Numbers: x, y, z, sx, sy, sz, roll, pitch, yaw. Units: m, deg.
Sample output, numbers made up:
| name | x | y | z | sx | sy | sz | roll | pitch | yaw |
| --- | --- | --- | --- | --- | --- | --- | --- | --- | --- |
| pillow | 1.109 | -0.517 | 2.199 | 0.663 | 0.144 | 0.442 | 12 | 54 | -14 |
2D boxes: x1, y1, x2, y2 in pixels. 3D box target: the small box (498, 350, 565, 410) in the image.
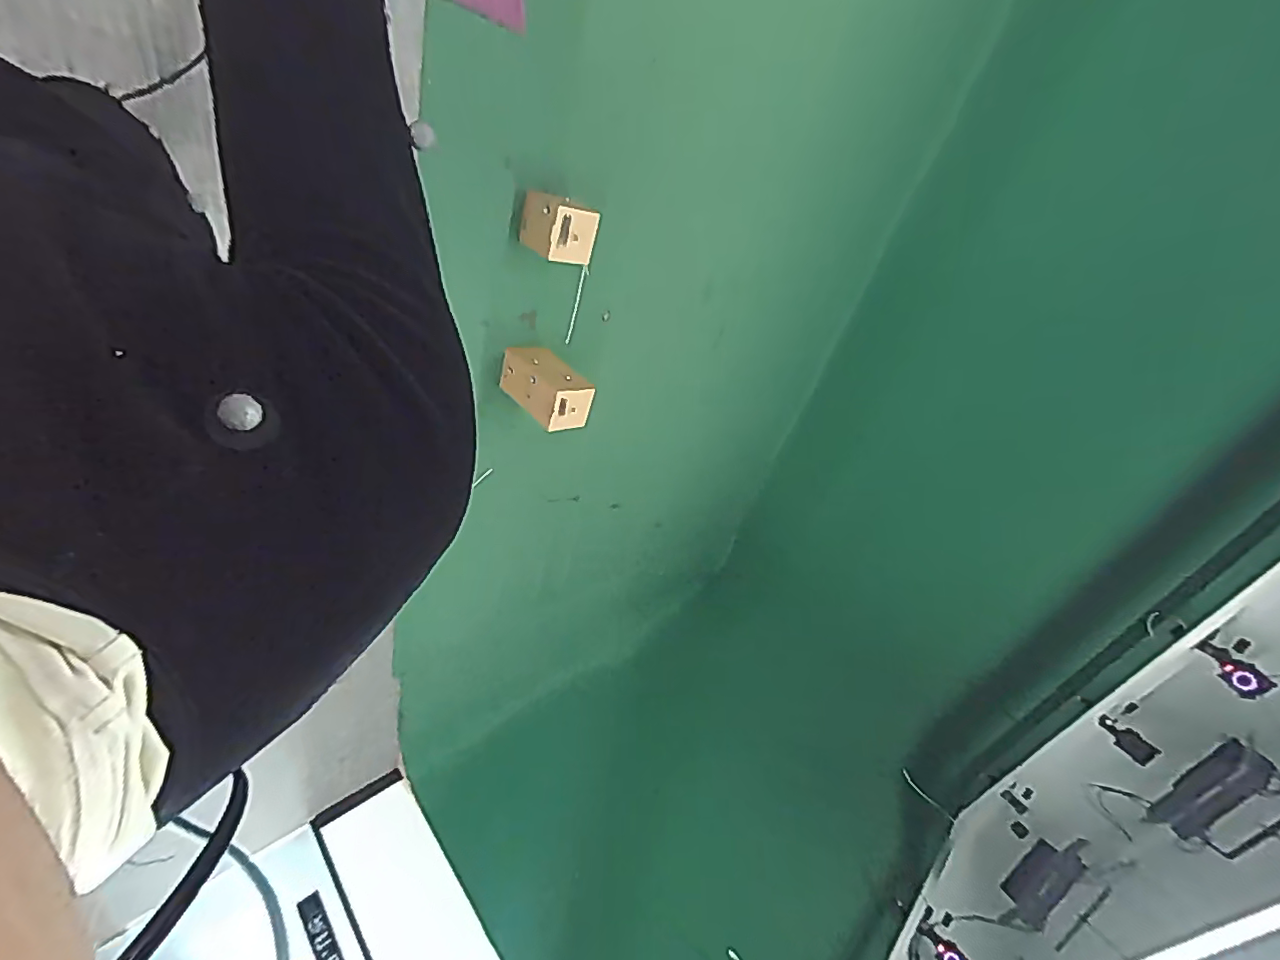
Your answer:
| name | x | y | z | sx | sy | sz | roll | pitch | yaw |
| --- | --- | --- | --- | --- | --- | --- | --- | --- | --- |
| small box | -0.415 | -0.385 | 2.063 | 0.179 | 0.176 | 0.168 | -15 | 136 | -43 |

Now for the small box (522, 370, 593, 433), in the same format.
| name | x | y | z | sx | sy | sz | roll | pitch | yaw |
| --- | --- | --- | --- | --- | --- | --- | --- | --- | --- |
| small box | -0.308 | -0.292 | 1.982 | 0.179 | 0.176 | 0.168 | -15 | 136 | -45 |
